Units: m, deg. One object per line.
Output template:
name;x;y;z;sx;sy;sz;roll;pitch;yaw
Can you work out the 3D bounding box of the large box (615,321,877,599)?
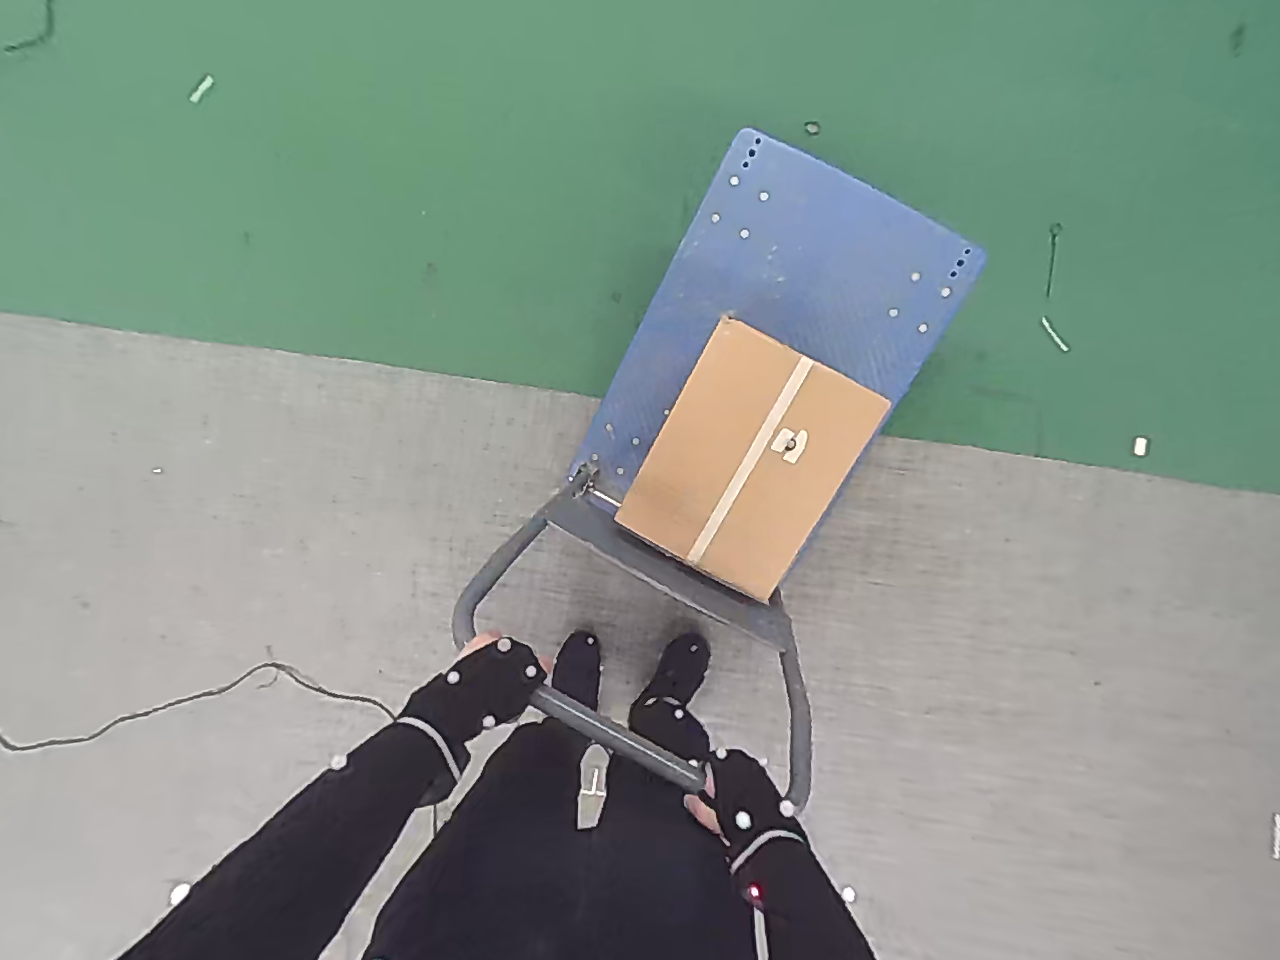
large box;0.191;-0.047;1.086;0.320;0.320;0.408;29;101;0
